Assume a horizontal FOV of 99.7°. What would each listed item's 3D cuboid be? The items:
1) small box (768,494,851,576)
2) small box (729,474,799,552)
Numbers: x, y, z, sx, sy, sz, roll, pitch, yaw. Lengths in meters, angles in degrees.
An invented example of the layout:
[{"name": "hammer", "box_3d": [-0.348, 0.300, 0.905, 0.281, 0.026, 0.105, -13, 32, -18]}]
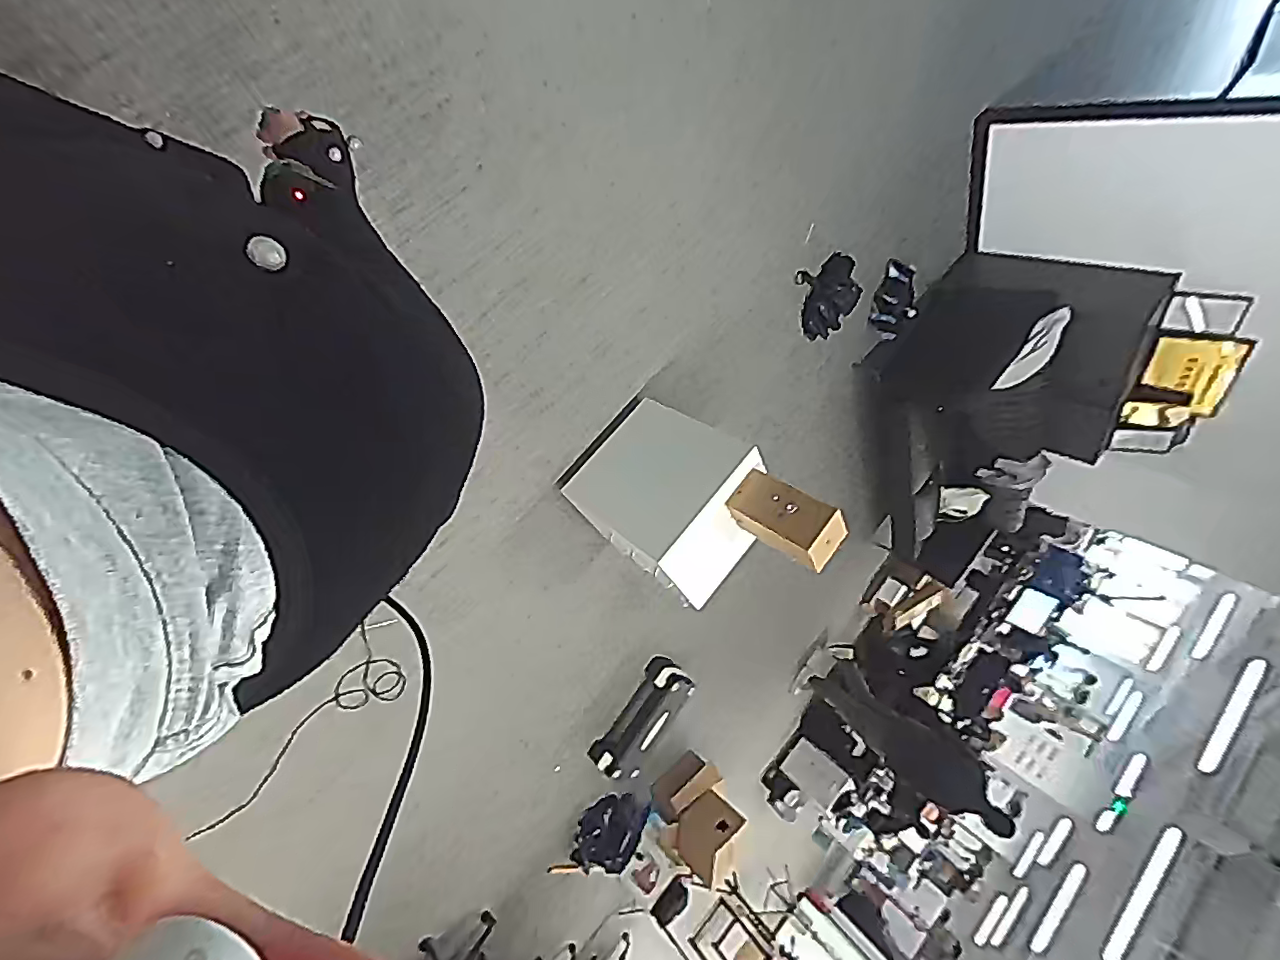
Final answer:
[{"name": "small box", "box_3d": [0.532, 0.169, 1.704, 0.168, 0.176, 0.179, -52, 138, -8]}, {"name": "small box", "box_3d": [0.428, 0.105, 1.811, 0.168, 0.176, 0.179, -50, 139, -9]}]
